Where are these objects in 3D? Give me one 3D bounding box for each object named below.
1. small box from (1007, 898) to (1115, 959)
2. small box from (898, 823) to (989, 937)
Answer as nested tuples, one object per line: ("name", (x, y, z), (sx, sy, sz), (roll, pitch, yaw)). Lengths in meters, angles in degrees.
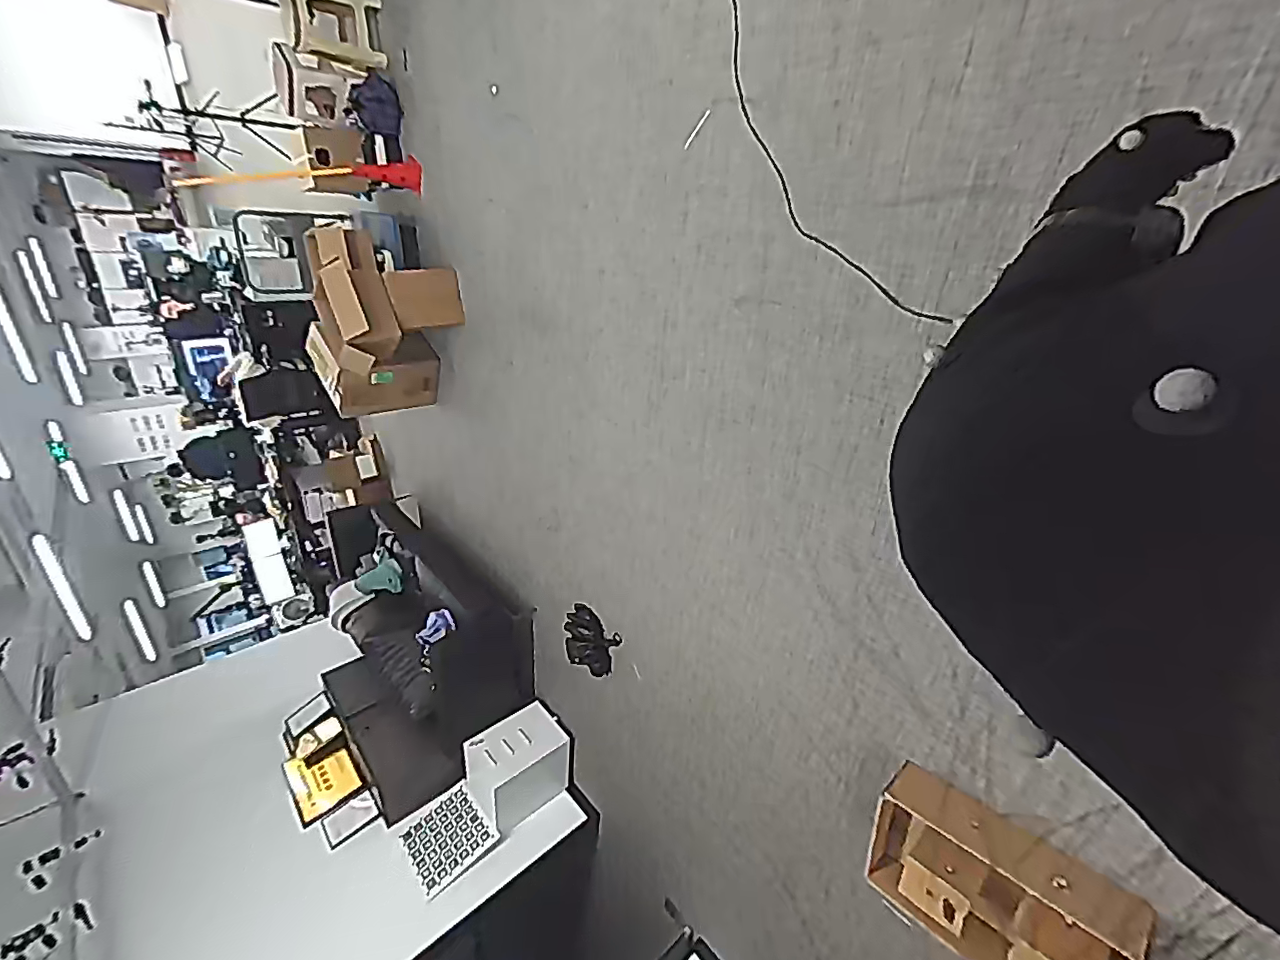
("small box", (1.091, 1.245, 1.408), (0.179, 0.176, 0.168), (19, 119, 47))
("small box", (0.902, 1.174, 1.603), (0.179, 0.176, 0.168), (23, 121, 42))
